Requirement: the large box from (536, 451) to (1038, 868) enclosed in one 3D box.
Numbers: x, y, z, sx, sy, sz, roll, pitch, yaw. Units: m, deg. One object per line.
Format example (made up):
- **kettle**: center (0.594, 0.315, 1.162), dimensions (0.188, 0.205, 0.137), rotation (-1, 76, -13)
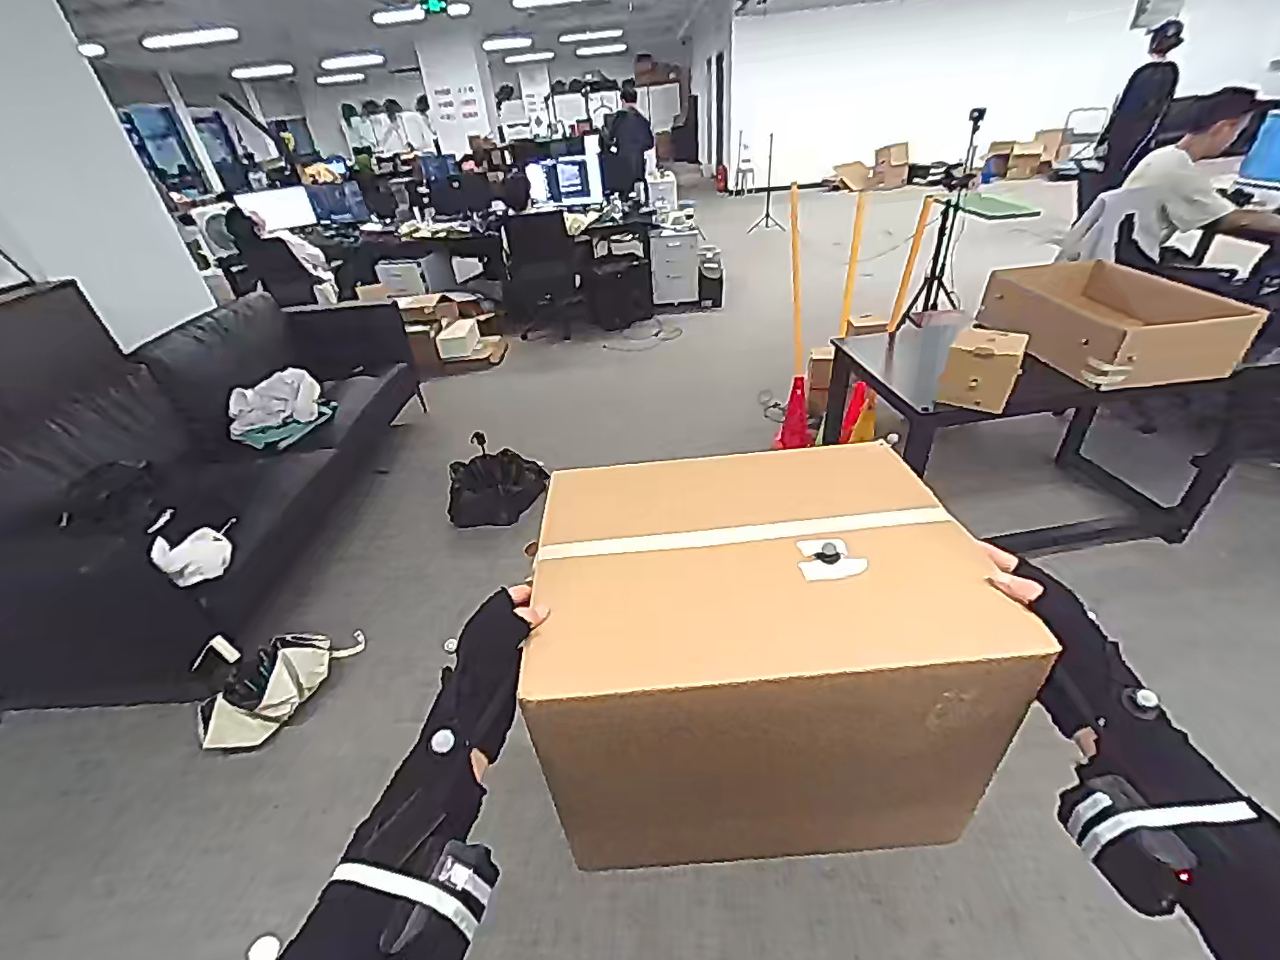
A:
- **large box**: center (0.116, 0.189, 0.620), dimensions (0.408, 0.320, 0.320), rotation (-5, 34, 0)
